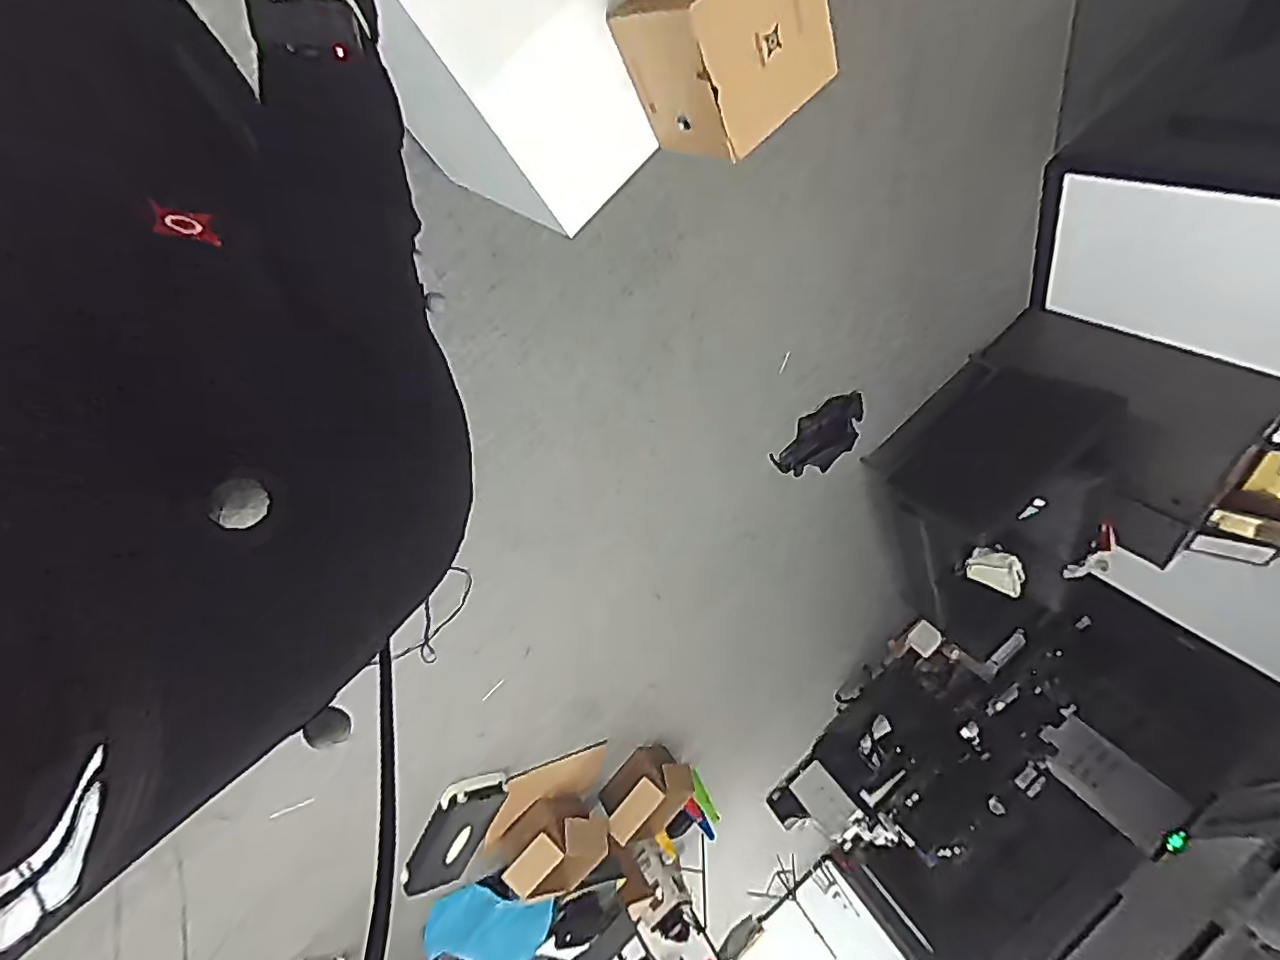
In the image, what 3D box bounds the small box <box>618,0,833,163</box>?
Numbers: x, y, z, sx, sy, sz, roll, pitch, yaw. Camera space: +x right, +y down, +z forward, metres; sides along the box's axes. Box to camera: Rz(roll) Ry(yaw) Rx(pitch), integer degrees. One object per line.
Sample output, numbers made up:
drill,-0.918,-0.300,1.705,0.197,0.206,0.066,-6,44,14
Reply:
small box,0.096,-0.521,0.651,0.179,0.176,0.168,-44,139,-3
